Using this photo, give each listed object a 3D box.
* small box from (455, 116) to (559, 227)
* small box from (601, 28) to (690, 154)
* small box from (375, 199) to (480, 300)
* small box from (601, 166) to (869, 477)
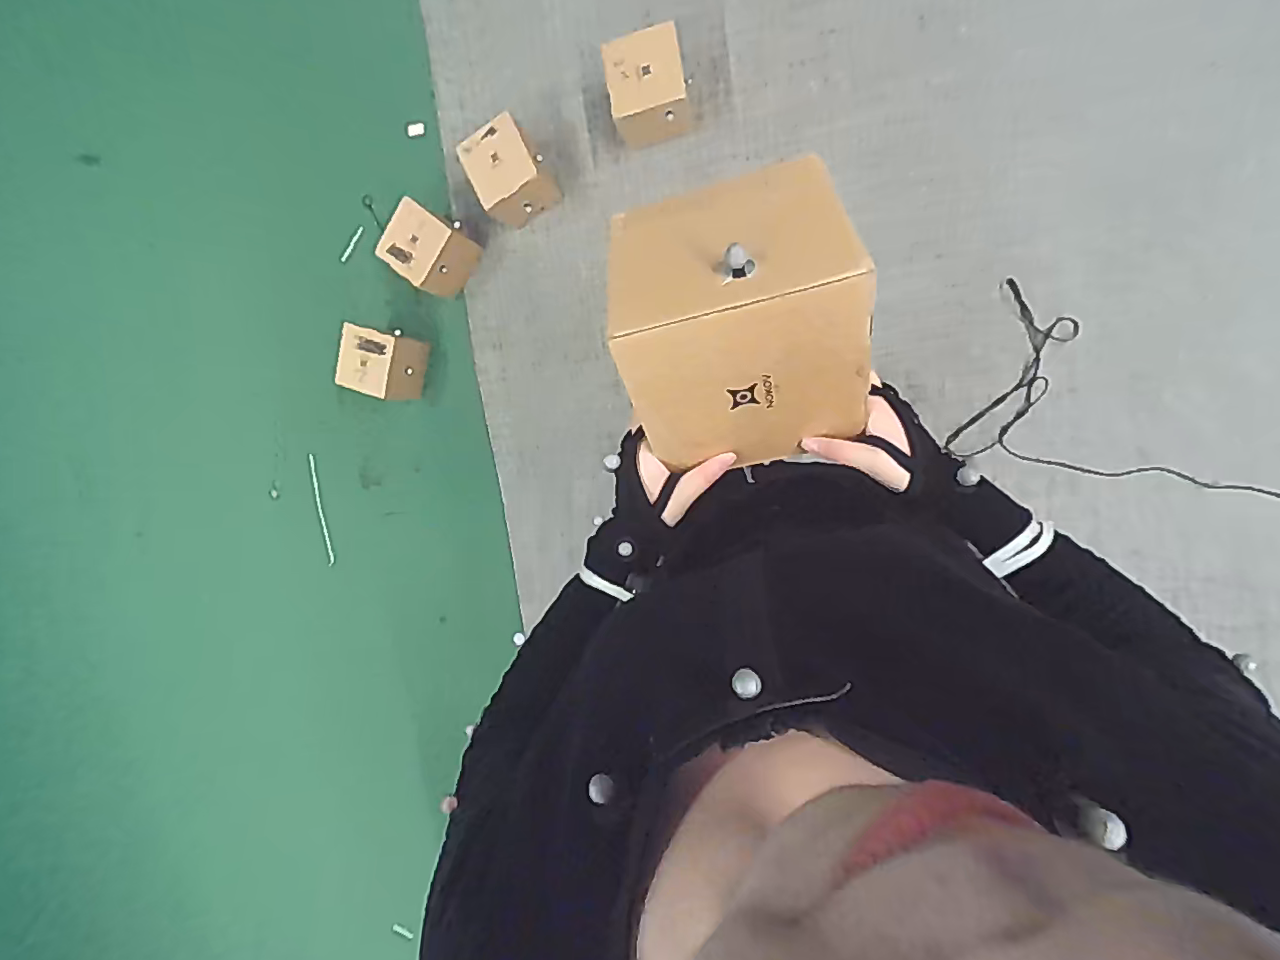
[{"bbox_3d":[-0.337,-0.785,1.407,0.168,0.176,0.179,-25,92,15],"label":"small box"},{"bbox_3d":[0.021,-0.926,1.303,0.179,0.176,0.168,-8,95,13],"label":"small box"},{"bbox_3d":[-0.575,-0.622,1.485,0.168,0.176,0.179,39,103,5],"label":"small box"},{"bbox_3d":[0.077,-0.129,0.457,0.179,0.168,0.176,-11,51,12],"label":"small box"}]
